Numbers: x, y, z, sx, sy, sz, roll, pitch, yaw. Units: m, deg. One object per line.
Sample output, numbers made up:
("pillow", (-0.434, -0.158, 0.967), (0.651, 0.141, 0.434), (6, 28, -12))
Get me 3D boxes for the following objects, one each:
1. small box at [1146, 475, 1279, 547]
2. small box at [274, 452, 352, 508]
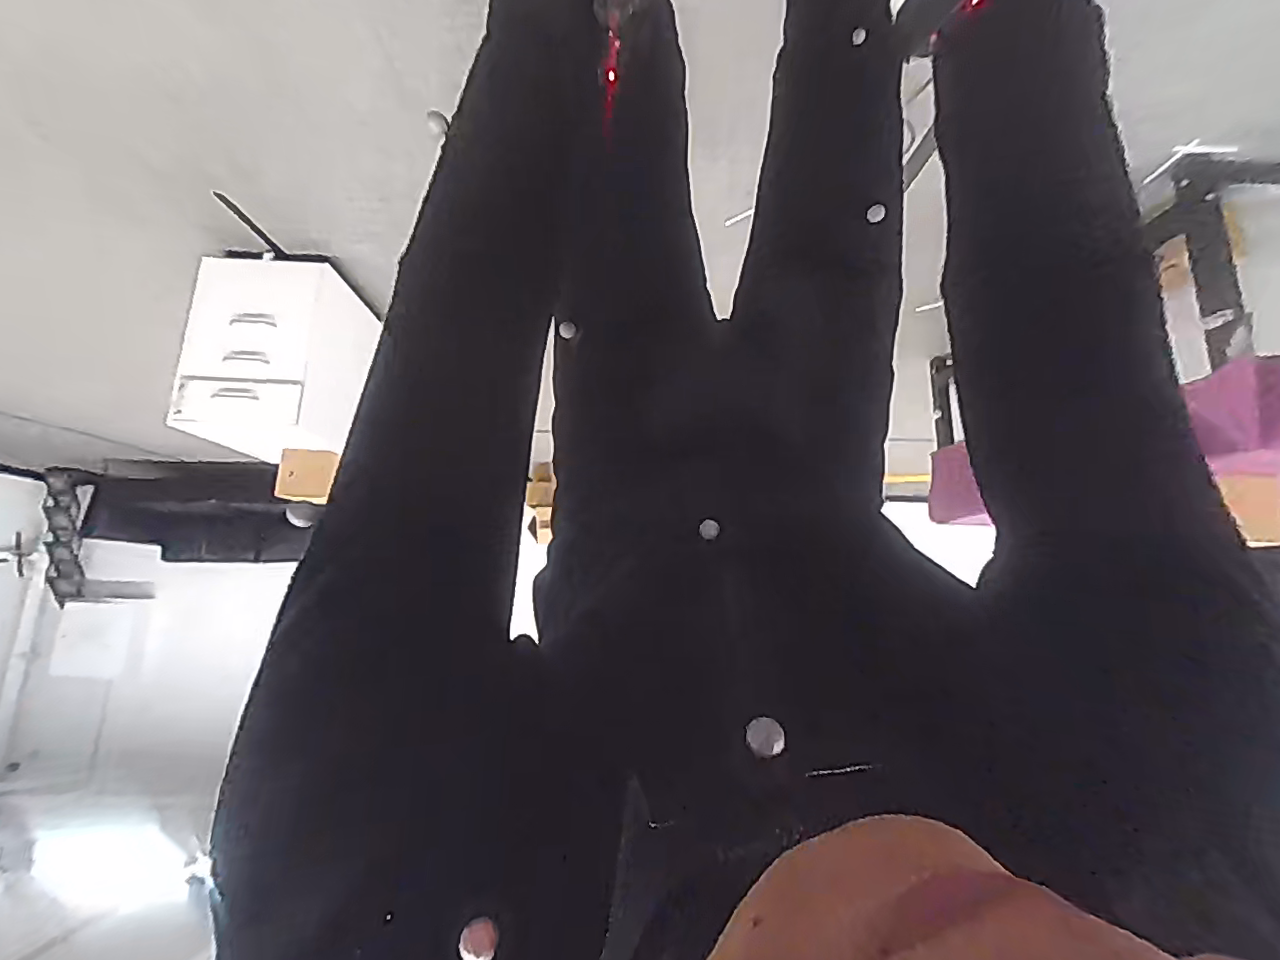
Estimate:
("small box", (1.484, 0.083, 1.406), (0.179, 0.176, 0.168), (2, 168, 0))
("small box", (-1.158, 0.000, 1.929), (0.179, 0.176, 0.168), (3, 169, -3))
